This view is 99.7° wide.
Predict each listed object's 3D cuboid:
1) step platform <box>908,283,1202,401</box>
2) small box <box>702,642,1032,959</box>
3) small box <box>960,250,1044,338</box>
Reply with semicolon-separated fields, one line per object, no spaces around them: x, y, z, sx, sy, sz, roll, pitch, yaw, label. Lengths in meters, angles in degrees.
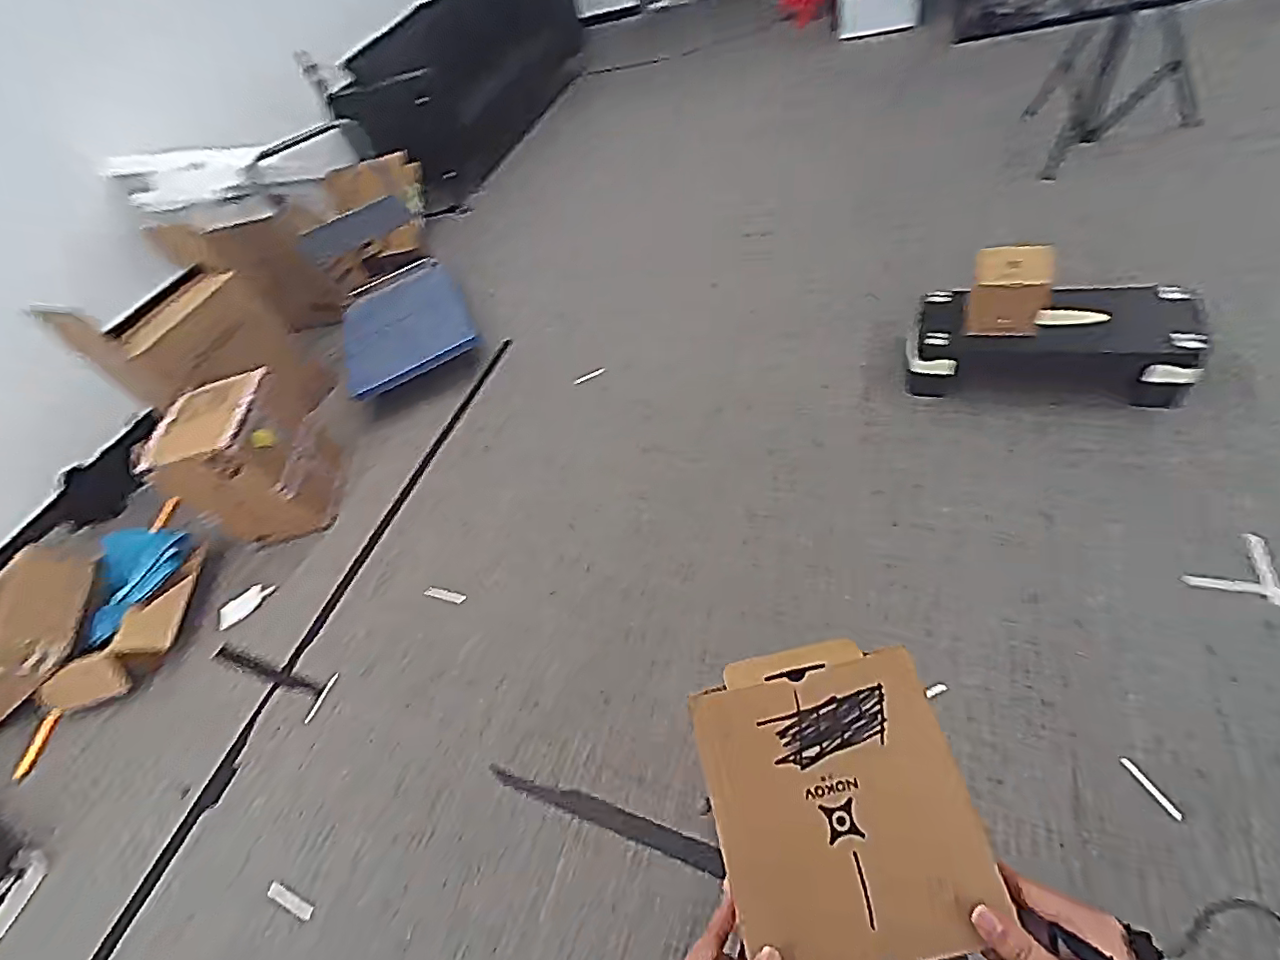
1.183;-0.415;1.606;0.684;0.204;0.286;6;55;24;step platform
0.147;0.242;0.429;0.168;0.176;0.179;-13;66;2;small box
1.009;-0.519;1.517;0.168;0.176;0.179;7;56;24;small box
